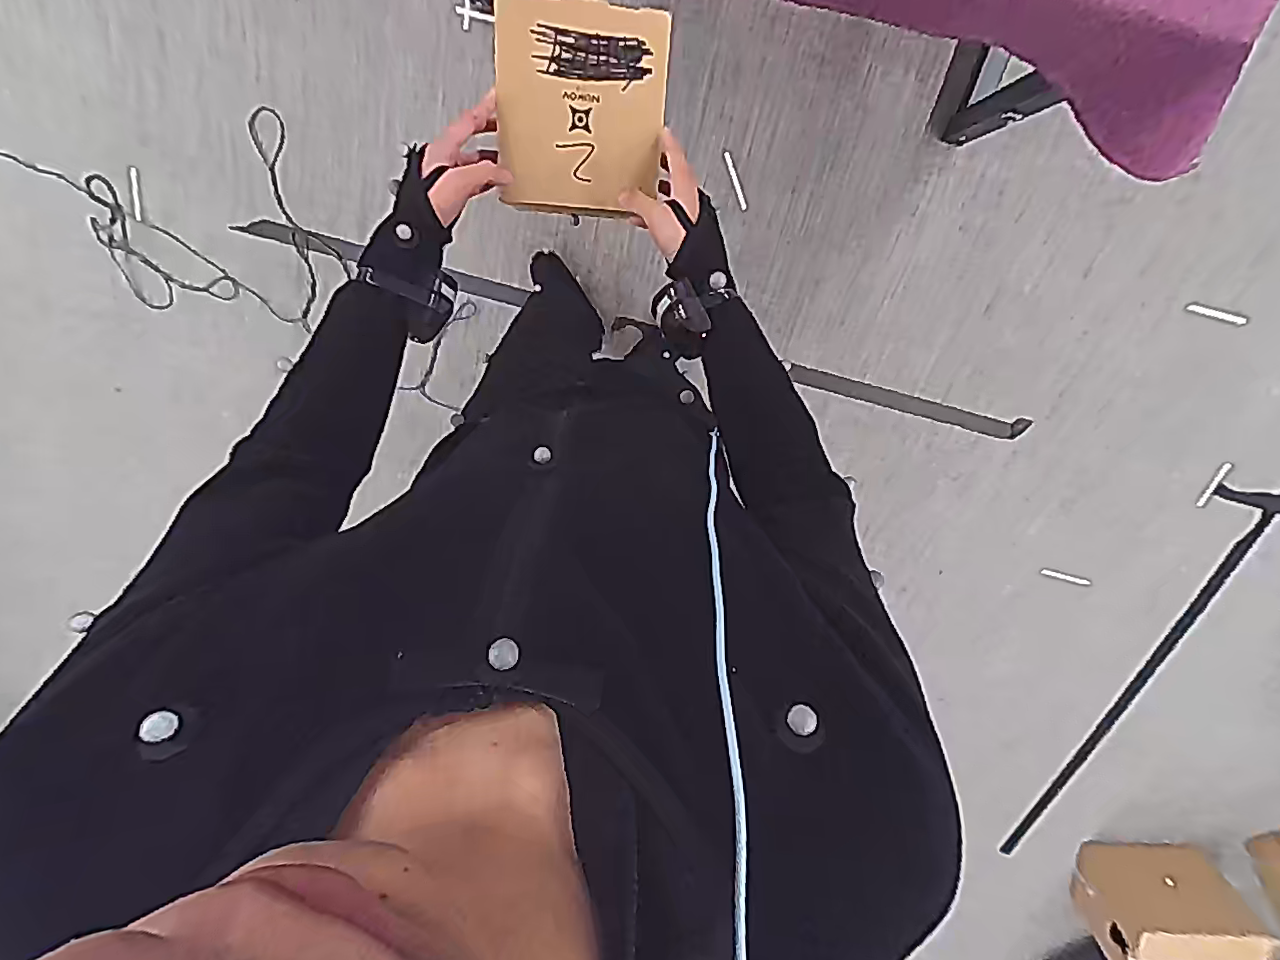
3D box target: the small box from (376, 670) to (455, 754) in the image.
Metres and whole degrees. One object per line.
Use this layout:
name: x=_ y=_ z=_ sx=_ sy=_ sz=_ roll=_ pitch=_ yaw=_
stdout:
small box: x=-0.735 y=0.757 z=1.780 sx=0.179 sy=0.176 sz=0.168 roll=17 pitch=111 yaw=-1
